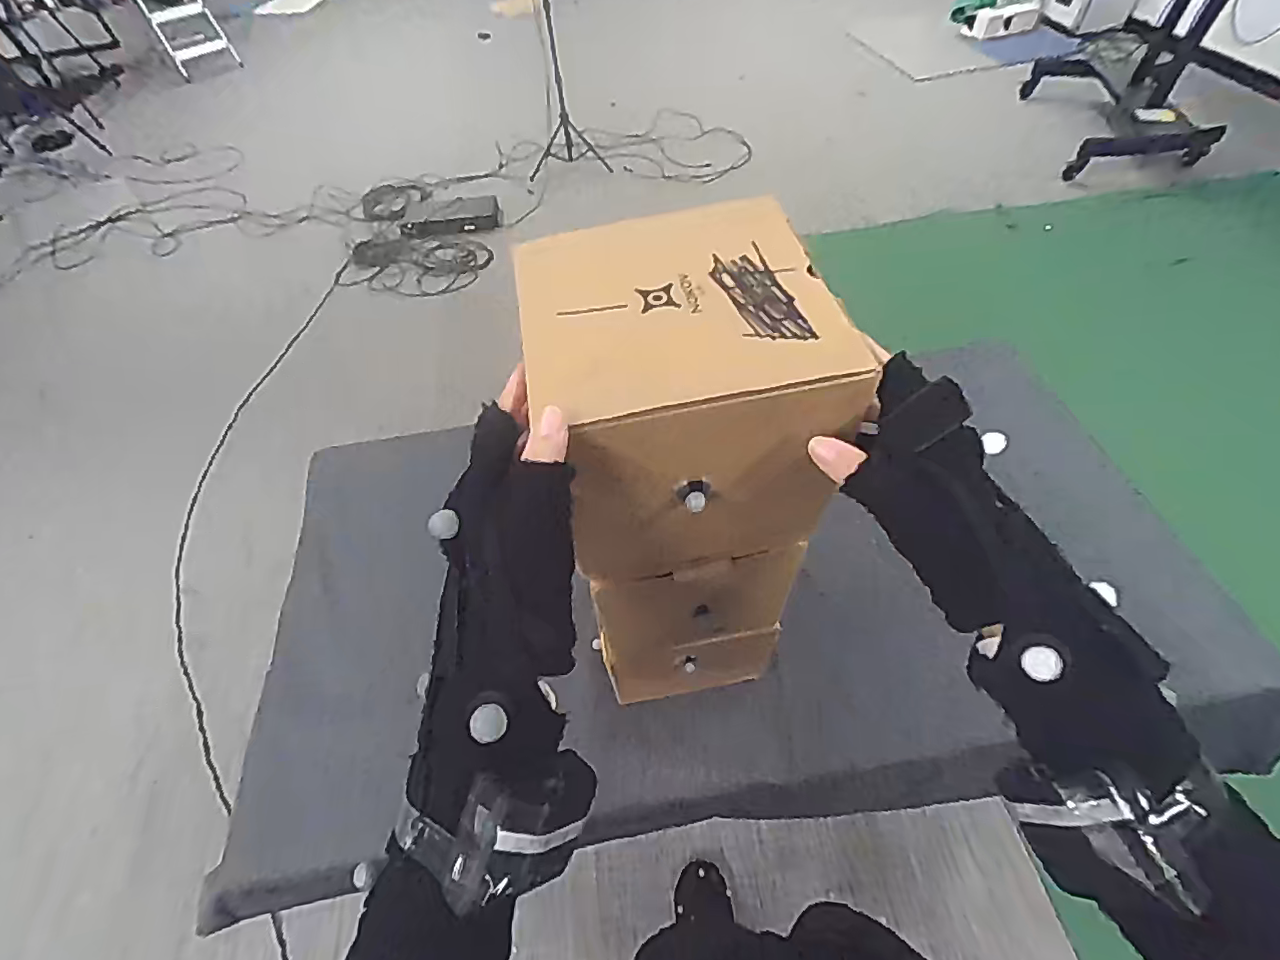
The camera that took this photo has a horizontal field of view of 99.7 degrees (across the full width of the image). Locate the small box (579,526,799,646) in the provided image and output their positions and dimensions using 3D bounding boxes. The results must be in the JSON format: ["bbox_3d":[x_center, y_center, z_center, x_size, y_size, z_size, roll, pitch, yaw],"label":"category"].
[{"bbox_3d":[0.029,0.040,0.501,0.168,0.176,0.179,-12,56,-4],"label":"small box"}]

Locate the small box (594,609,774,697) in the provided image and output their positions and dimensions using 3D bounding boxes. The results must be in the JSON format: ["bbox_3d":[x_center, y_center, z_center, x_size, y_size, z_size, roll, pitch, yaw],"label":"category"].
[{"bbox_3d":[0.038,0.139,0.631,0.179,0.176,0.168,-10,55,-4],"label":"small box"}]

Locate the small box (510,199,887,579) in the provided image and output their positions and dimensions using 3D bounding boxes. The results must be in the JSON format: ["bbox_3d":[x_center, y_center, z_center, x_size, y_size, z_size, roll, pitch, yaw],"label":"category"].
[{"bbox_3d":[0.023,-0.054,0.365,0.179,0.176,0.168,-13,56,-6],"label":"small box"}]
